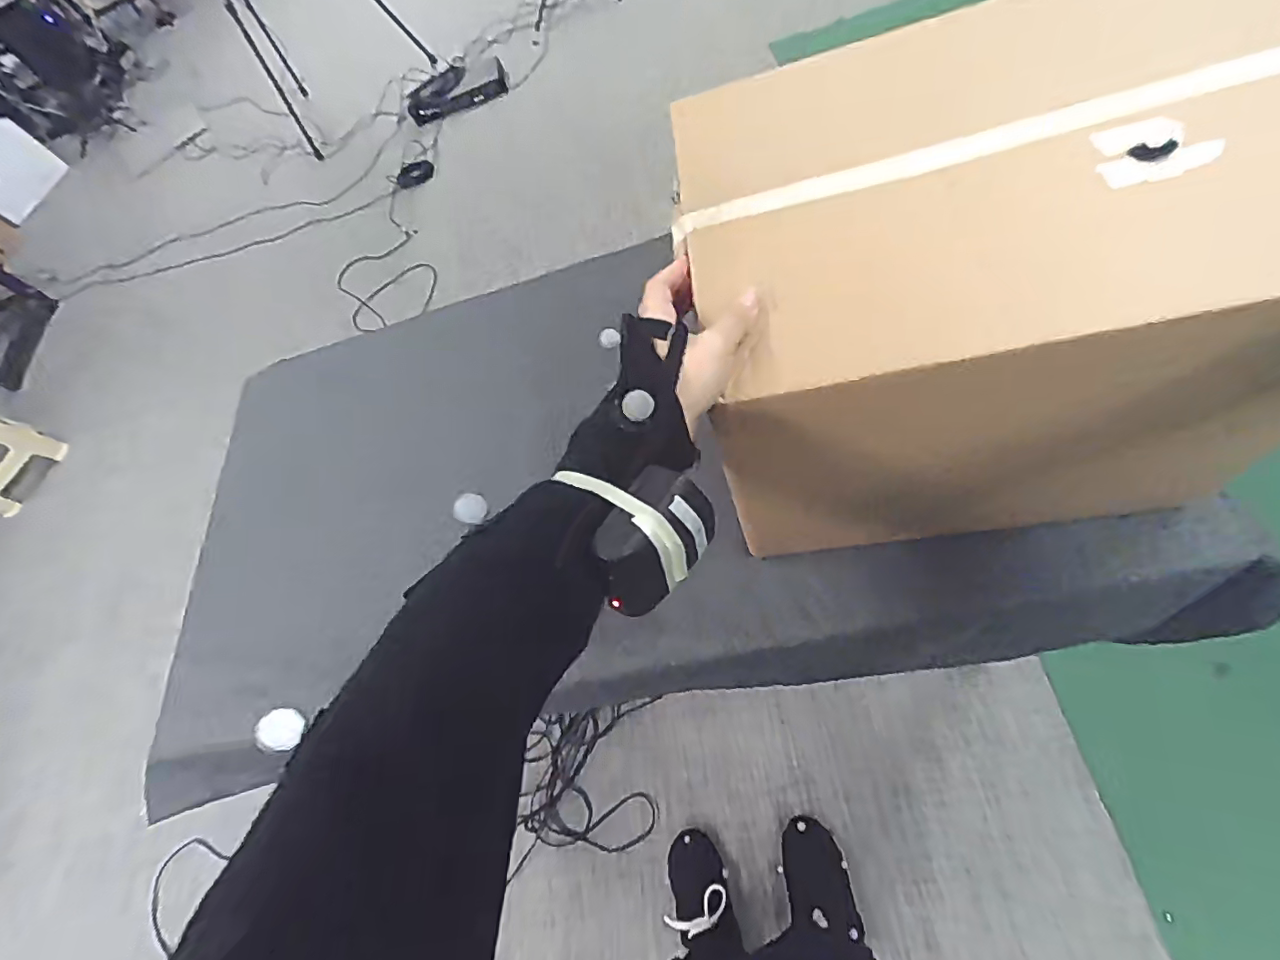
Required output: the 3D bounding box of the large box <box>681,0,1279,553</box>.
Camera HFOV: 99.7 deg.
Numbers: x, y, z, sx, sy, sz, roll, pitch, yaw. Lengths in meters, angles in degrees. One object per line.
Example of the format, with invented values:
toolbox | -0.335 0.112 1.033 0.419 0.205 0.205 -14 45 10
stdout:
large box | 0.269 -0.149 0.484 0.408 0.320 0.320 -9 63 12
